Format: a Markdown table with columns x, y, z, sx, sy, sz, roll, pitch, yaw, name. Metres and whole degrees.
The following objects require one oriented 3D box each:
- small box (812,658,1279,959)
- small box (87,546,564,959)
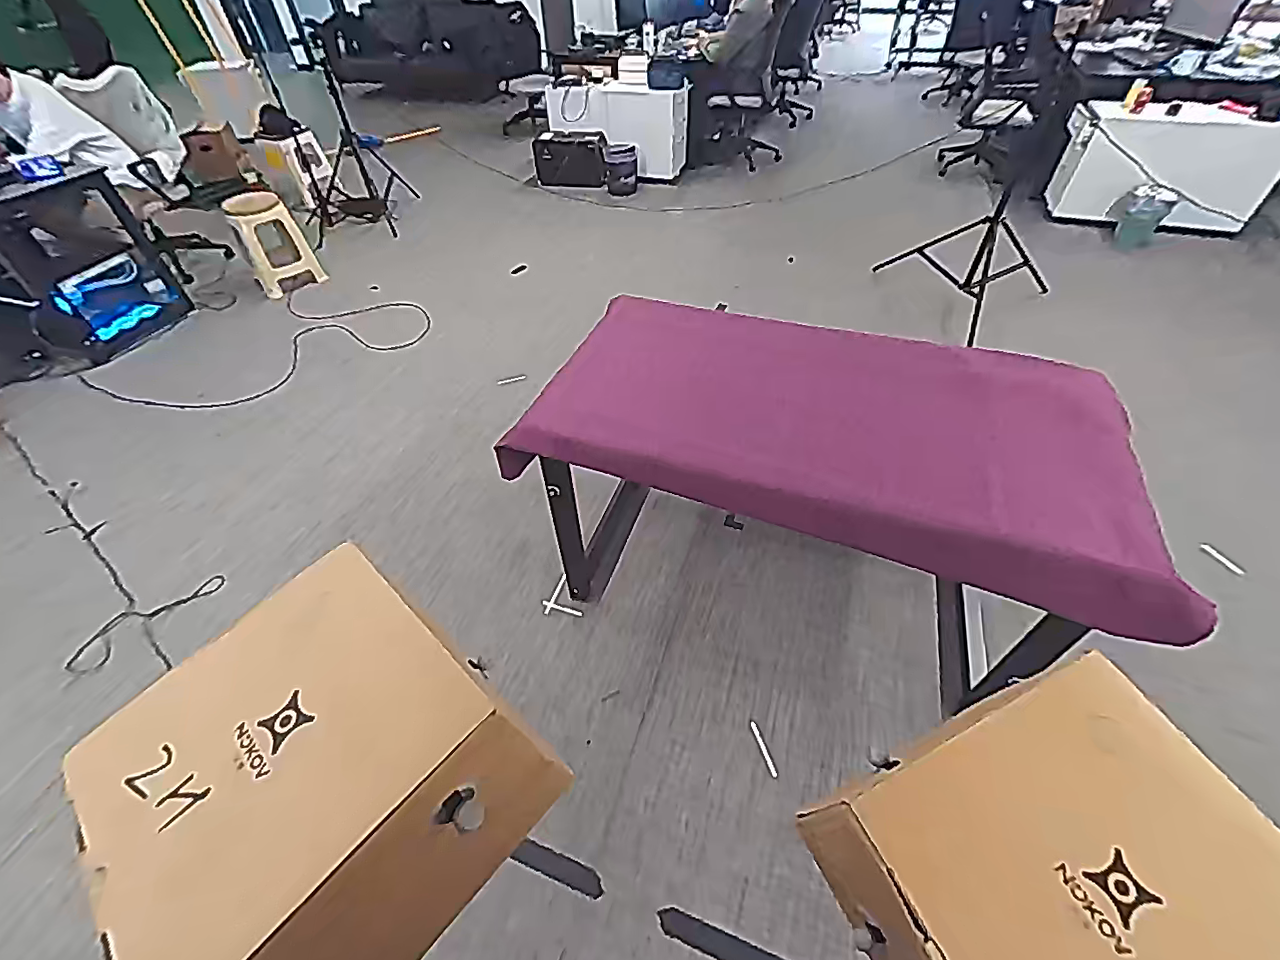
| x | y | z | sx | sy | sz | roll | pitch | yaw | name |
| --- | --- | --- | --- | --- | --- | --- | --- | --- | --- |
| 0.229 | 0.237 | 0.320 | 0.179 | 0.176 | 0.168 | -25 | 57 | -11 | small box |
| -0.167 | 0.182 | 0.341 | 0.168 | 0.176 | 0.179 | 32 | 63 | 32 | small box |
